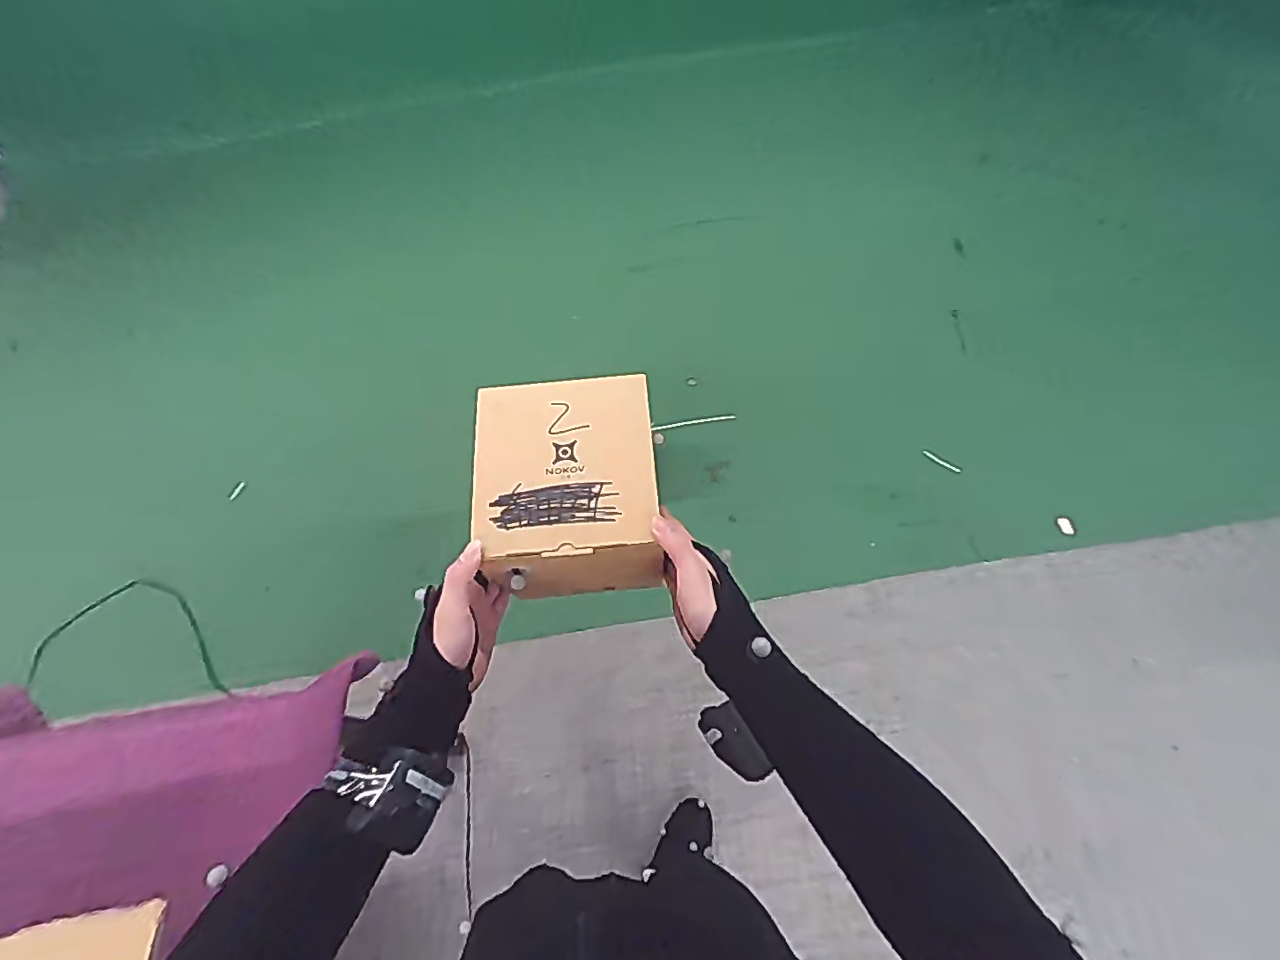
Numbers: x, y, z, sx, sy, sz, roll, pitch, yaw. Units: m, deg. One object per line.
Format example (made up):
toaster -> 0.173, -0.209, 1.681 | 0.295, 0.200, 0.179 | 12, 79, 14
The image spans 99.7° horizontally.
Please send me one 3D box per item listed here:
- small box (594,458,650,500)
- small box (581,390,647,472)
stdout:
small box -> -0.061, -0.058, 1.746 | 0.168, 0.176, 0.179 | -9, 61, 1
small box -> -0.076, -0.137, 1.604 | 0.168, 0.176, 0.179 | -9, 60, 0
